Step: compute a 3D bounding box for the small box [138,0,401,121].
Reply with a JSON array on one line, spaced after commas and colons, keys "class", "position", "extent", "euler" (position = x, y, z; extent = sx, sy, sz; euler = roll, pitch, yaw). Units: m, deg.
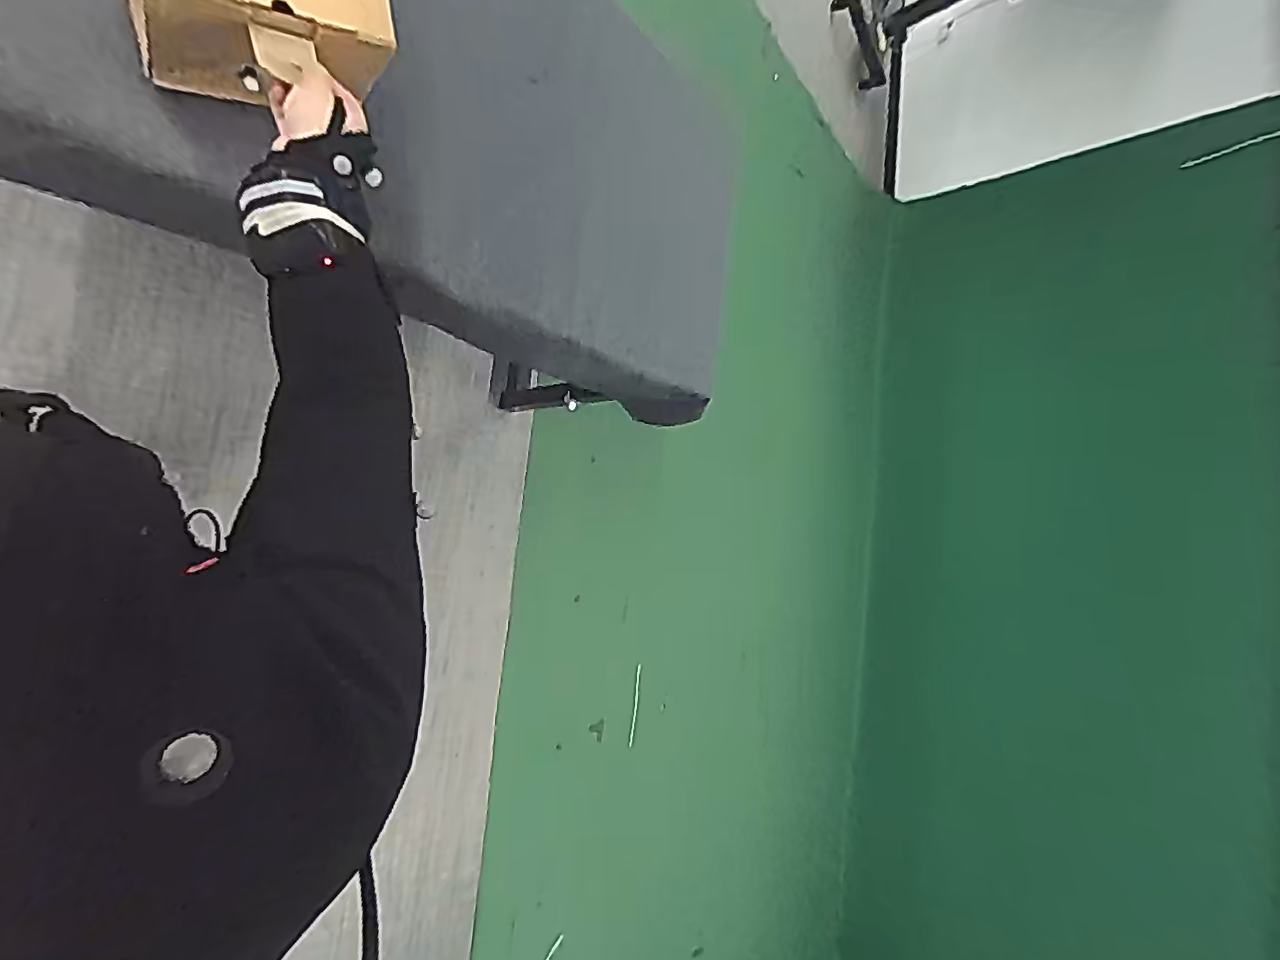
[{"class": "small box", "position": [-0.328, -0.447, 0.460], "extent": [0.168, 0.176, 0.179], "euler": [-16, 107, -39]}]
